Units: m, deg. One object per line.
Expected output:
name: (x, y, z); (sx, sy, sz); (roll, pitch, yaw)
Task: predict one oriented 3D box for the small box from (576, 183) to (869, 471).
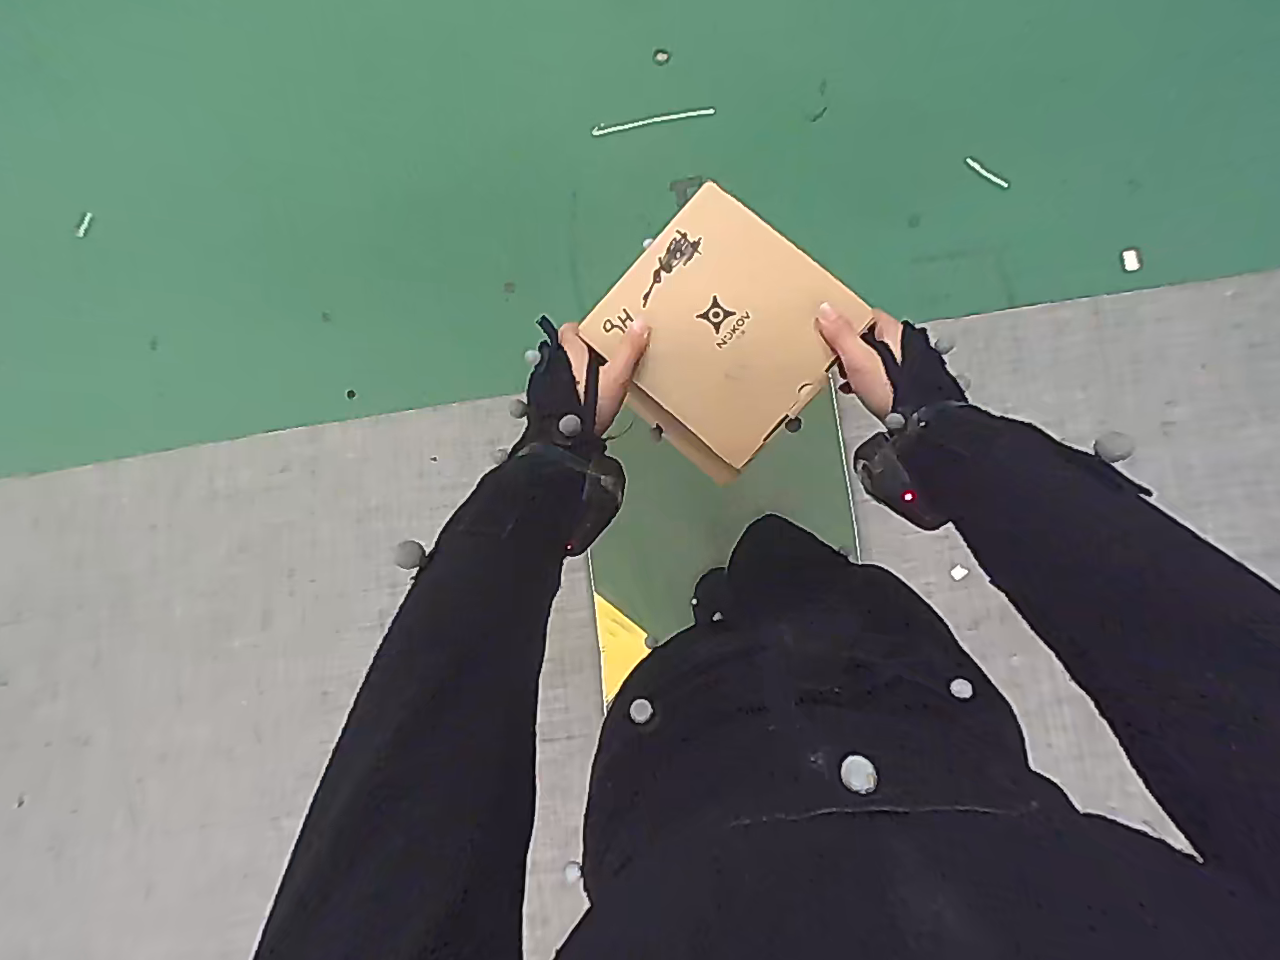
small box: (0.069, -0.121, 0.508); (0.179, 0.176, 0.168); (41, 89, 5)
